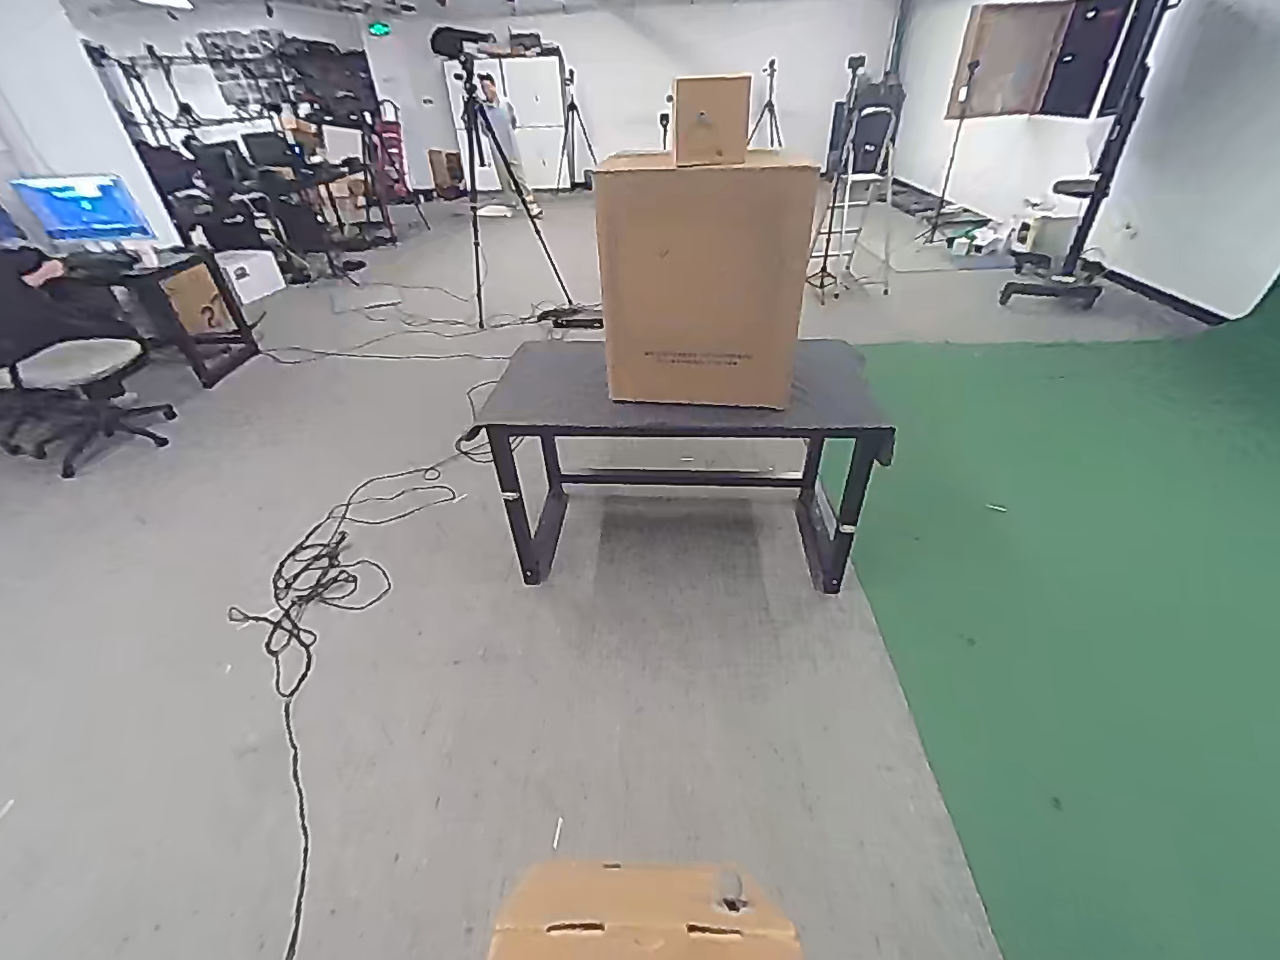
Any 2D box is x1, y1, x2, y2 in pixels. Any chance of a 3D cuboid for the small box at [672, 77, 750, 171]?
[{"bbox_3d":[0.162,-0.835,1.273,0.168,0.176,0.179,-2,38,2],"label":"small box"}]
